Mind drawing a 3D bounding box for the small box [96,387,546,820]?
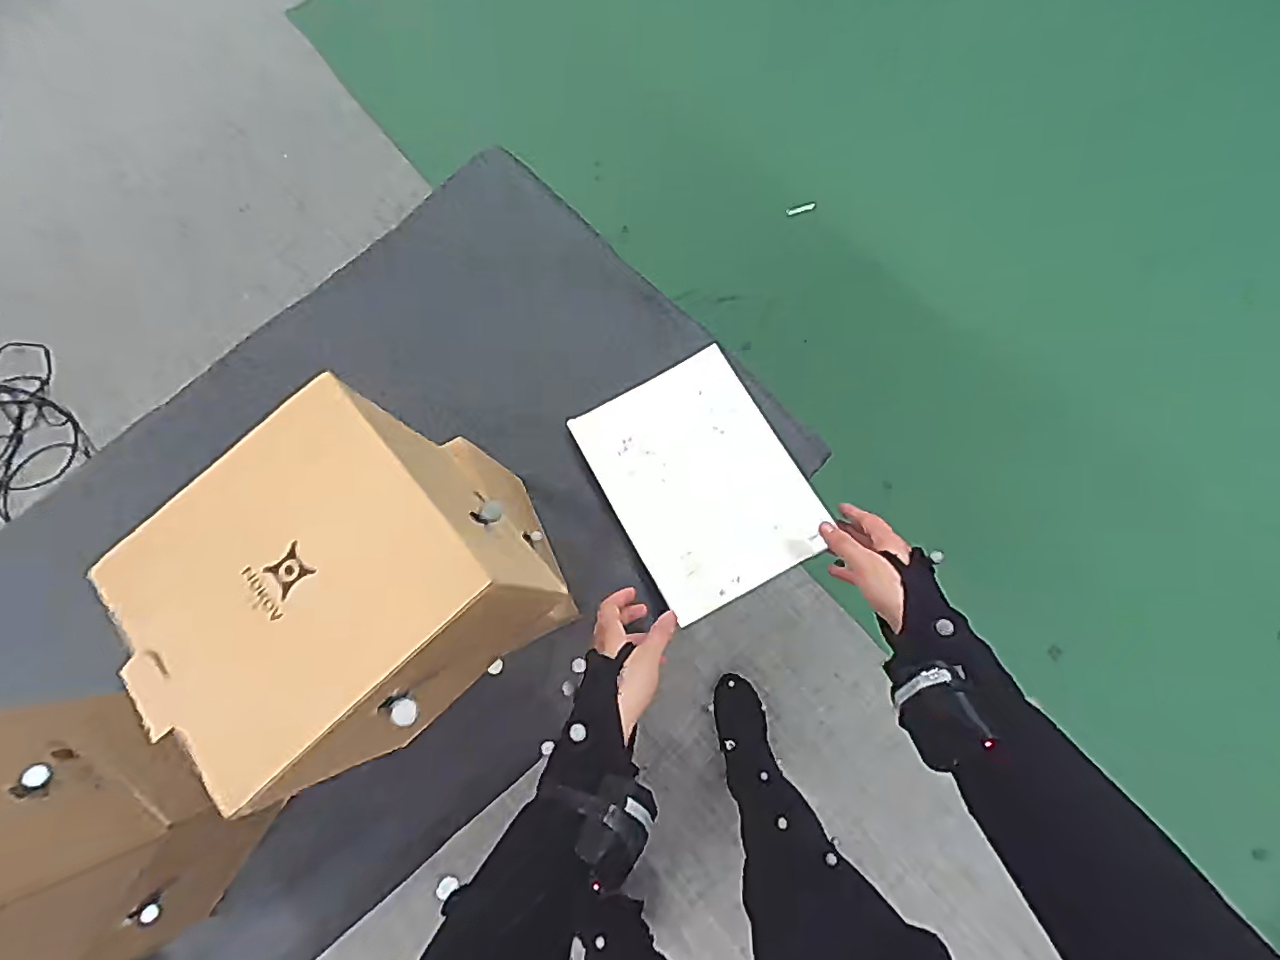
[{"bbox_3d":[-0.184,0.074,0.372,0.179,0.176,0.168,-43,76,-3],"label":"small box"}]

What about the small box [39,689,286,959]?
[{"bbox_3d":[-0.479,0.323,0.517,0.168,0.176,0.179,31,82,10],"label":"small box"}]

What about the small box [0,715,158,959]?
[{"bbox_3d":[-0.492,0.291,0.356,0.168,0.176,0.179,33,83,11],"label":"small box"}]

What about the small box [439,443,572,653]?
[{"bbox_3d":[-0.186,0.093,0.536,0.168,0.176,0.179,-27,77,0],"label":"small box"}]
